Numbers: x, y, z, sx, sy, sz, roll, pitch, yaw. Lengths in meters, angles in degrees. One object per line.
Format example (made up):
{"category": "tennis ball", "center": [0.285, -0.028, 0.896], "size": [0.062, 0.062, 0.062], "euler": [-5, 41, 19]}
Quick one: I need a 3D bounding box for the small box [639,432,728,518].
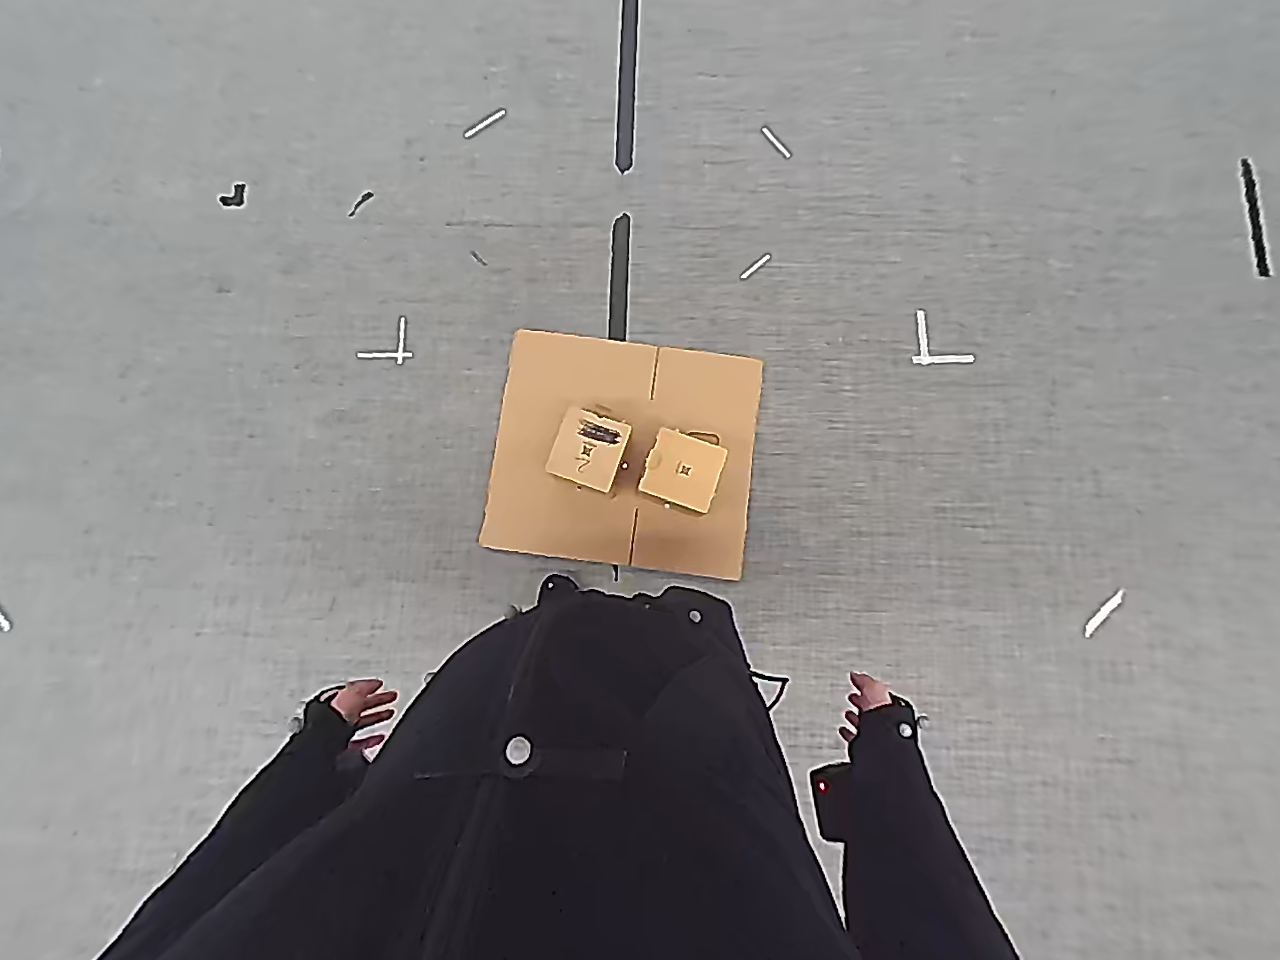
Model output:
{"category": "small box", "center": [0.107, -0.005, 1.382], "size": [0.179, 0.176, 0.168], "euler": [19, 83, 4]}
